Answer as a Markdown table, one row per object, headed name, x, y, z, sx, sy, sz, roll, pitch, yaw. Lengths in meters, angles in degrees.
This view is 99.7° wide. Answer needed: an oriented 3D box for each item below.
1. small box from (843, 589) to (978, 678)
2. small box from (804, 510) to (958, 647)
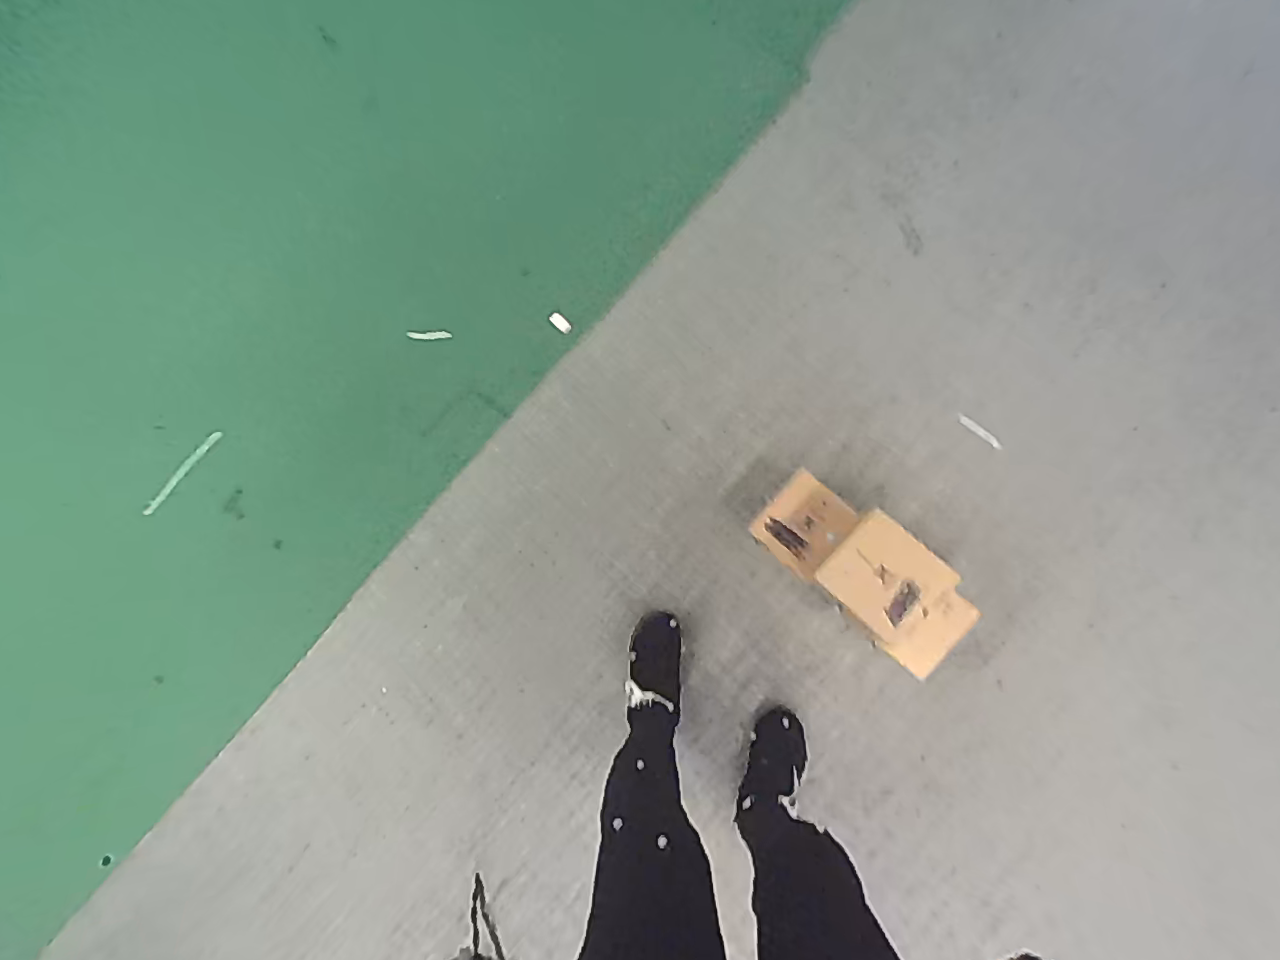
| name | x | y | z | sx | sy | sz | roll | pitch | yaw |
| --- | --- | --- | --- | --- | --- | --- | --- | --- | --- |
| small box | 0.547 | 0.277 | 1.130 | 0.168 | 0.176 | 0.179 | 42 | 90 | 12 |
| small box | 0.428 | 0.175 | 0.995 | 0.179 | 0.176 | 0.168 | 44 | 90 | 12 |
